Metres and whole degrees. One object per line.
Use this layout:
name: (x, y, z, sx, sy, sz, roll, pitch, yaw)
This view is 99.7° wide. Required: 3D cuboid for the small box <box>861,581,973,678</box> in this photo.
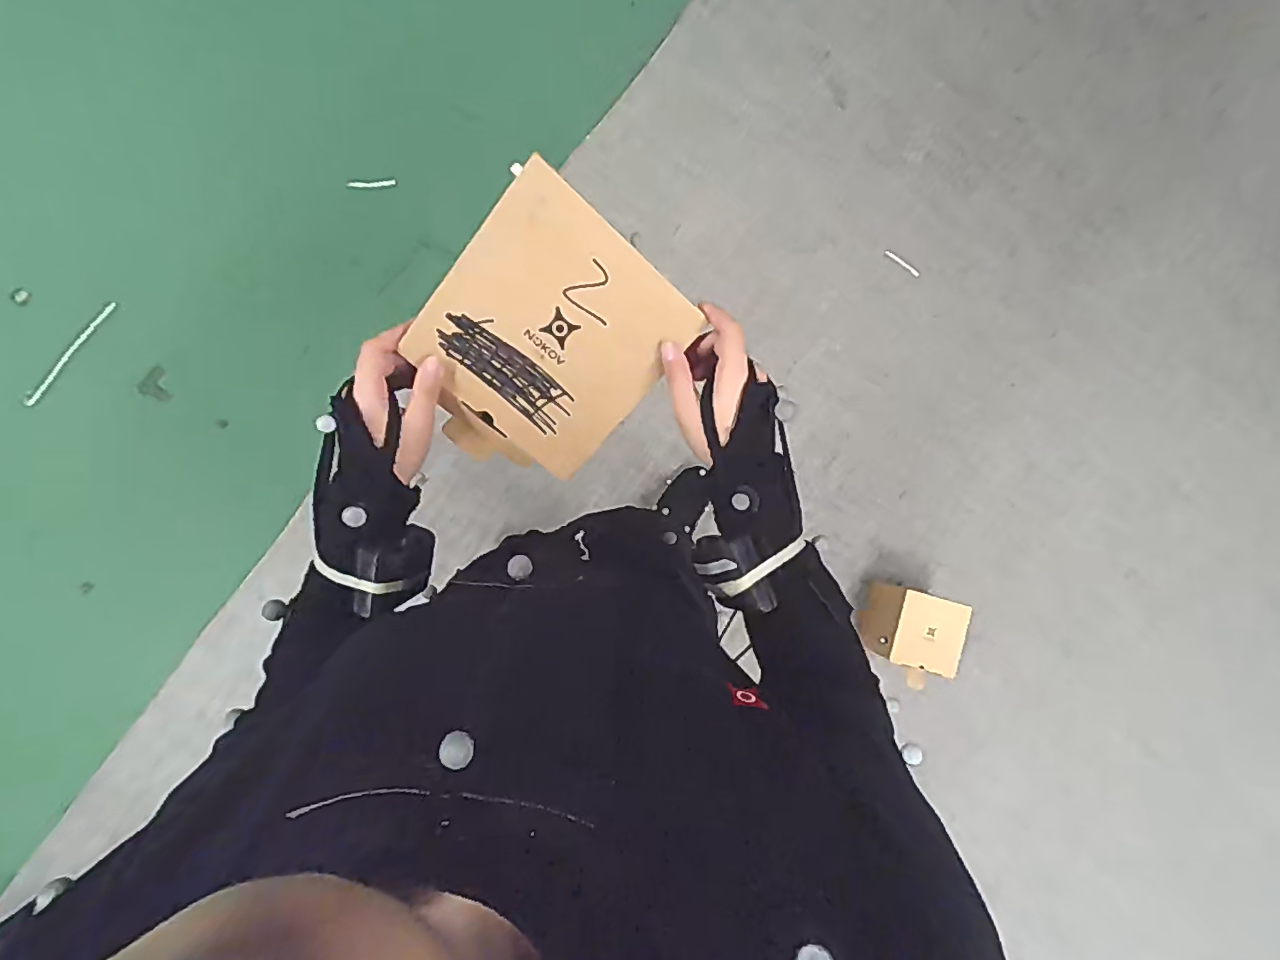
small box: (0.674, 0.359, 1.336, 0.168, 0.176, 0.179, 16, 88, -3)
